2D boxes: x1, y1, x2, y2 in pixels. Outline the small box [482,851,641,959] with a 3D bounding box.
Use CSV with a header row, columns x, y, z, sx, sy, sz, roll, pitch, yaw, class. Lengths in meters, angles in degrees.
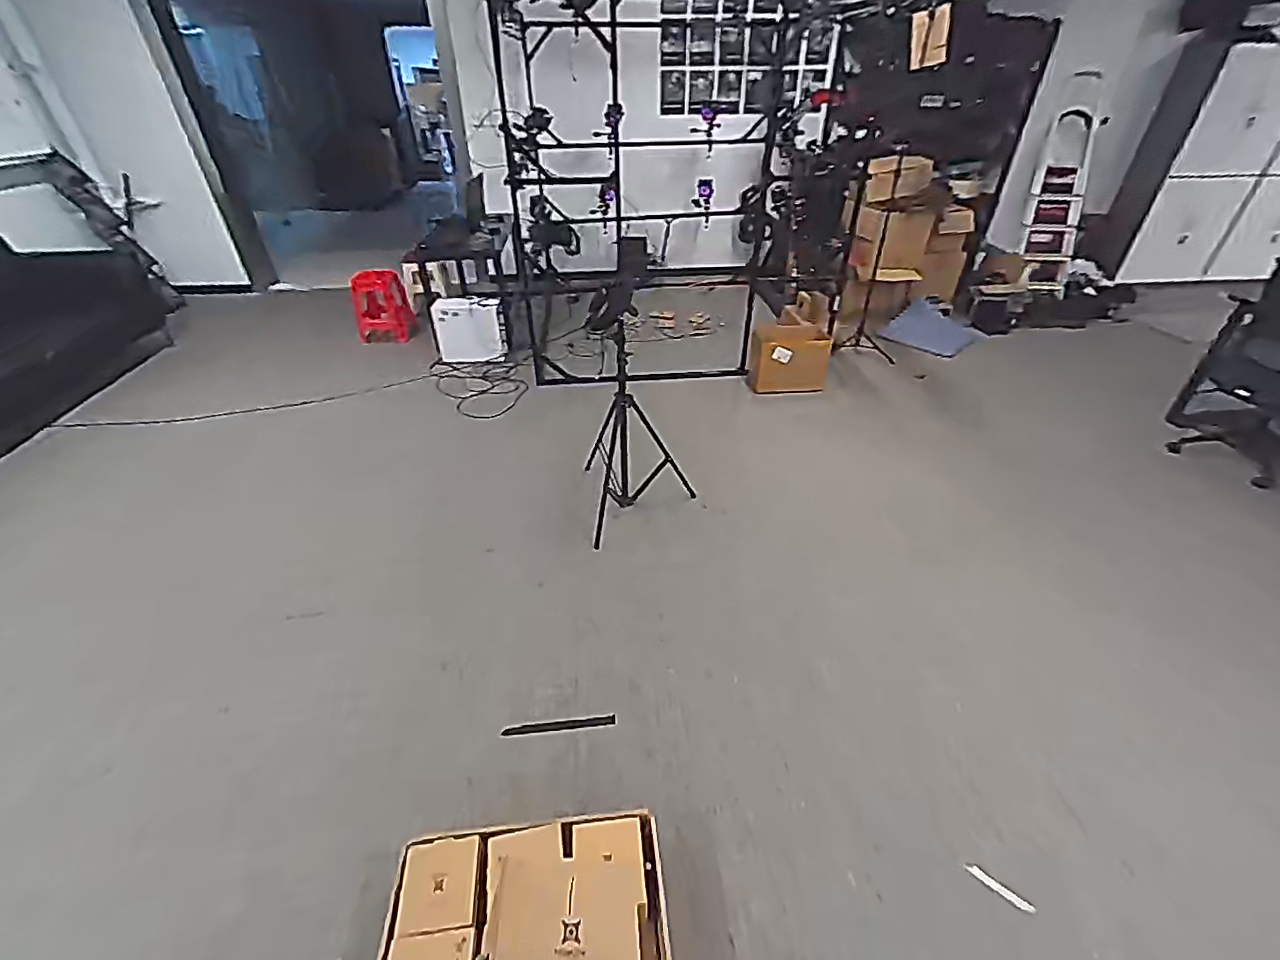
x,y,z,sx,sy,sz,roll,pitch,yaw,class
-0.099,0.579,0.636,0.168,0.176,0.179,12,26,-12,small box
